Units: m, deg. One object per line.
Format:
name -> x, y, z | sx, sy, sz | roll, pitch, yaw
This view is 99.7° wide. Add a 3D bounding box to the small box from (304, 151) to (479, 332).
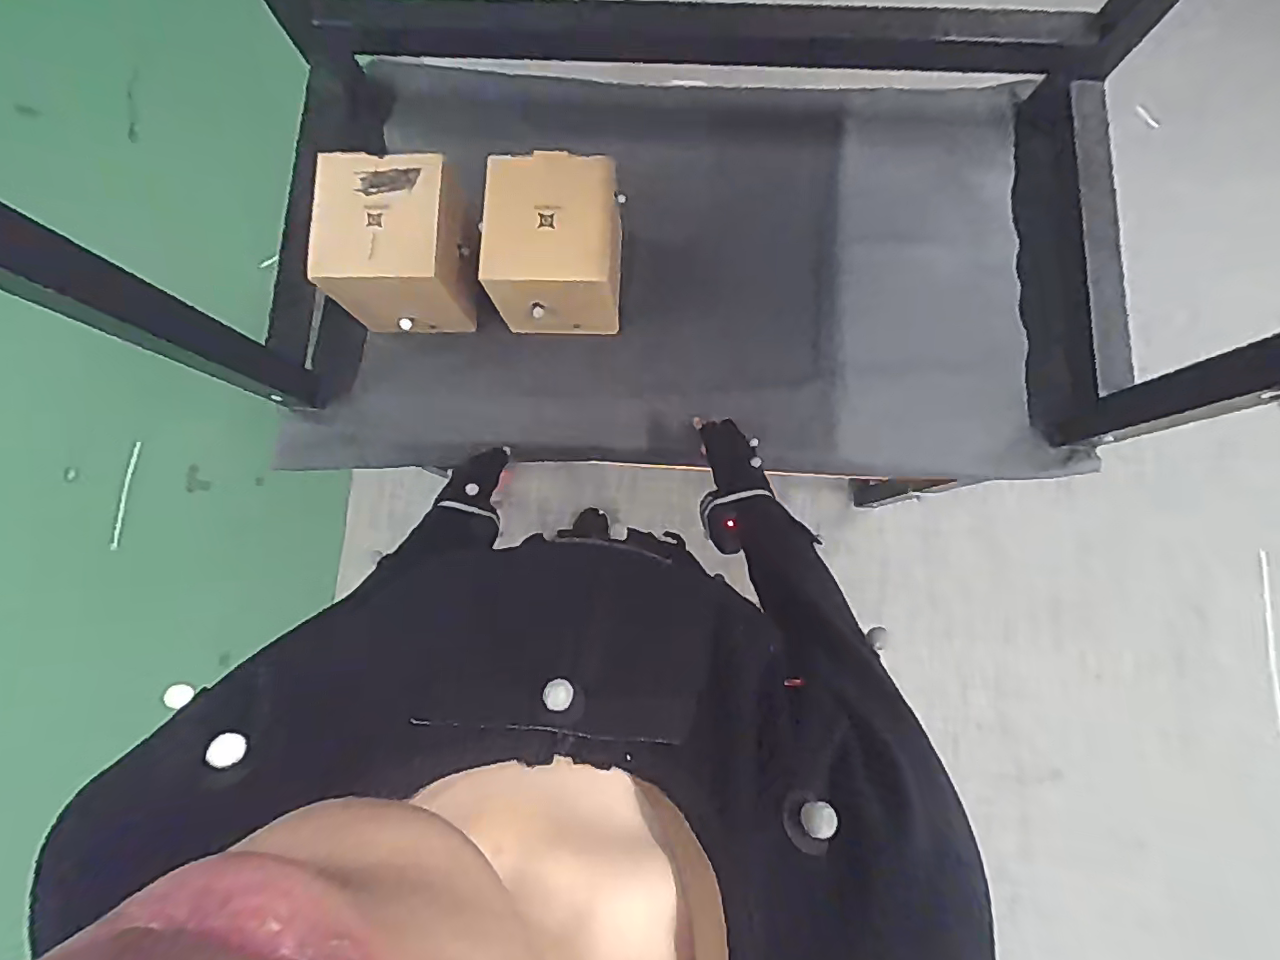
small box -> -0.336, -0.328, 0.766 | 0.168, 0.176, 0.179 | 1, 82, 2
